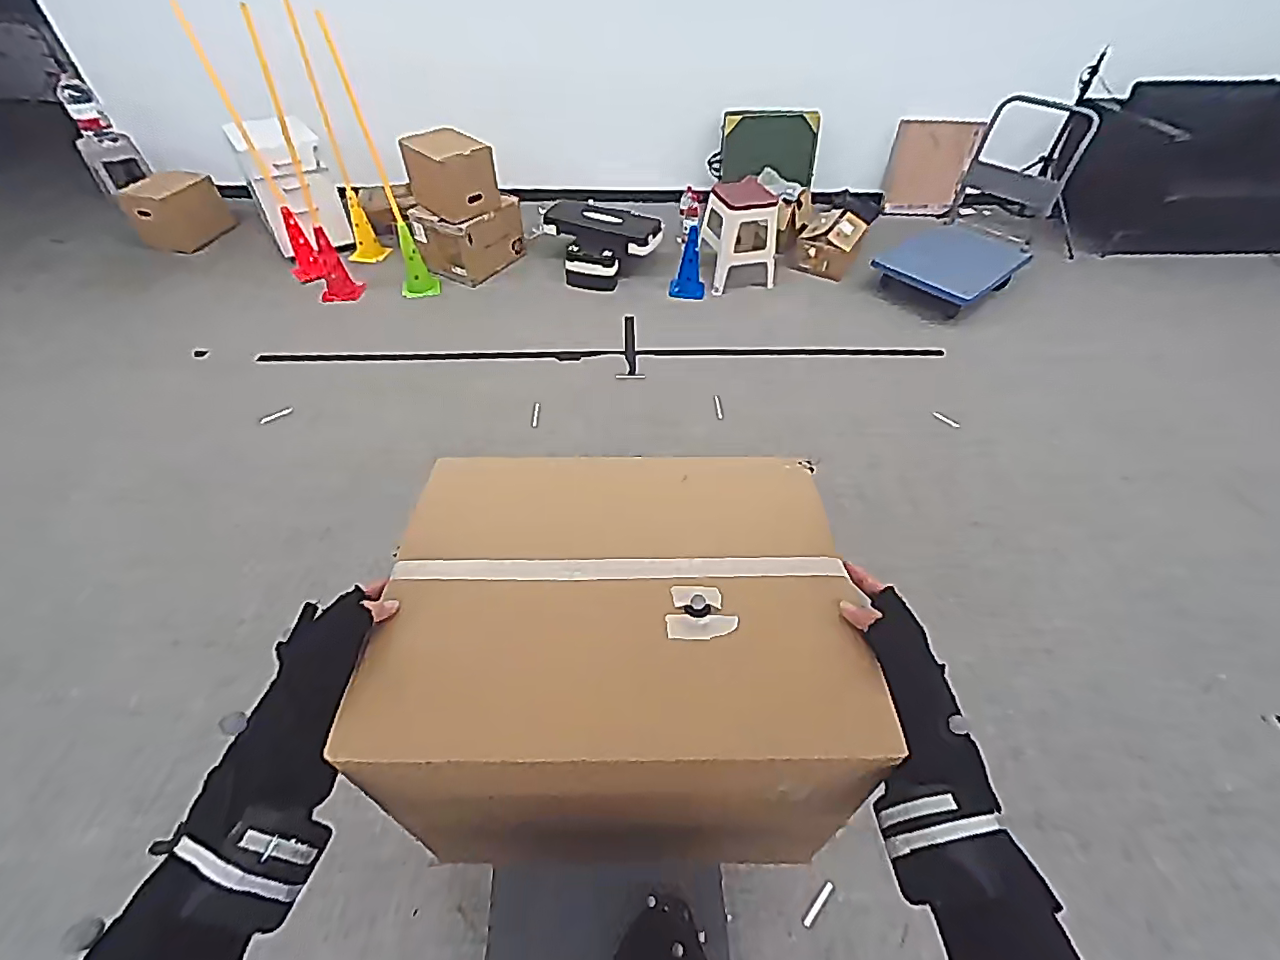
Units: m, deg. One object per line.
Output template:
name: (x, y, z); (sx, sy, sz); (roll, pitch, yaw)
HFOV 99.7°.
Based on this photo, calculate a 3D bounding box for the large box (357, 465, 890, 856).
large box: (-0.015, 0.197, 0.604); (0.408, 0.320, 0.320); (0, 44, 0)
